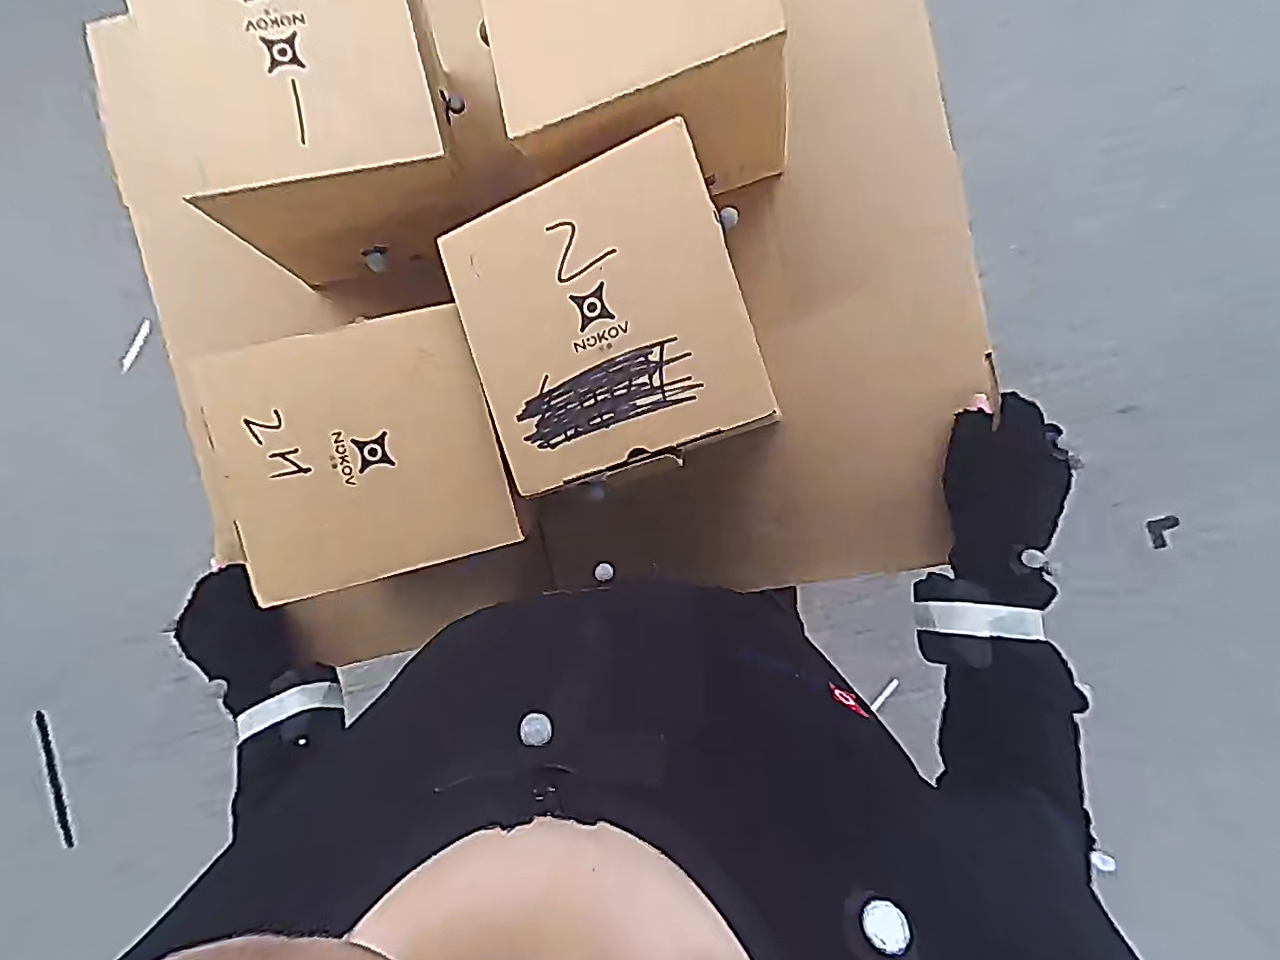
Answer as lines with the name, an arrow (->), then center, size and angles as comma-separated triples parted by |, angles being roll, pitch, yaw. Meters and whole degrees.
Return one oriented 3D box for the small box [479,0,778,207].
small box -> 0.000, -0.318, 0.379 | 0.168, 0.176, 0.179 | -11, 91, 15
